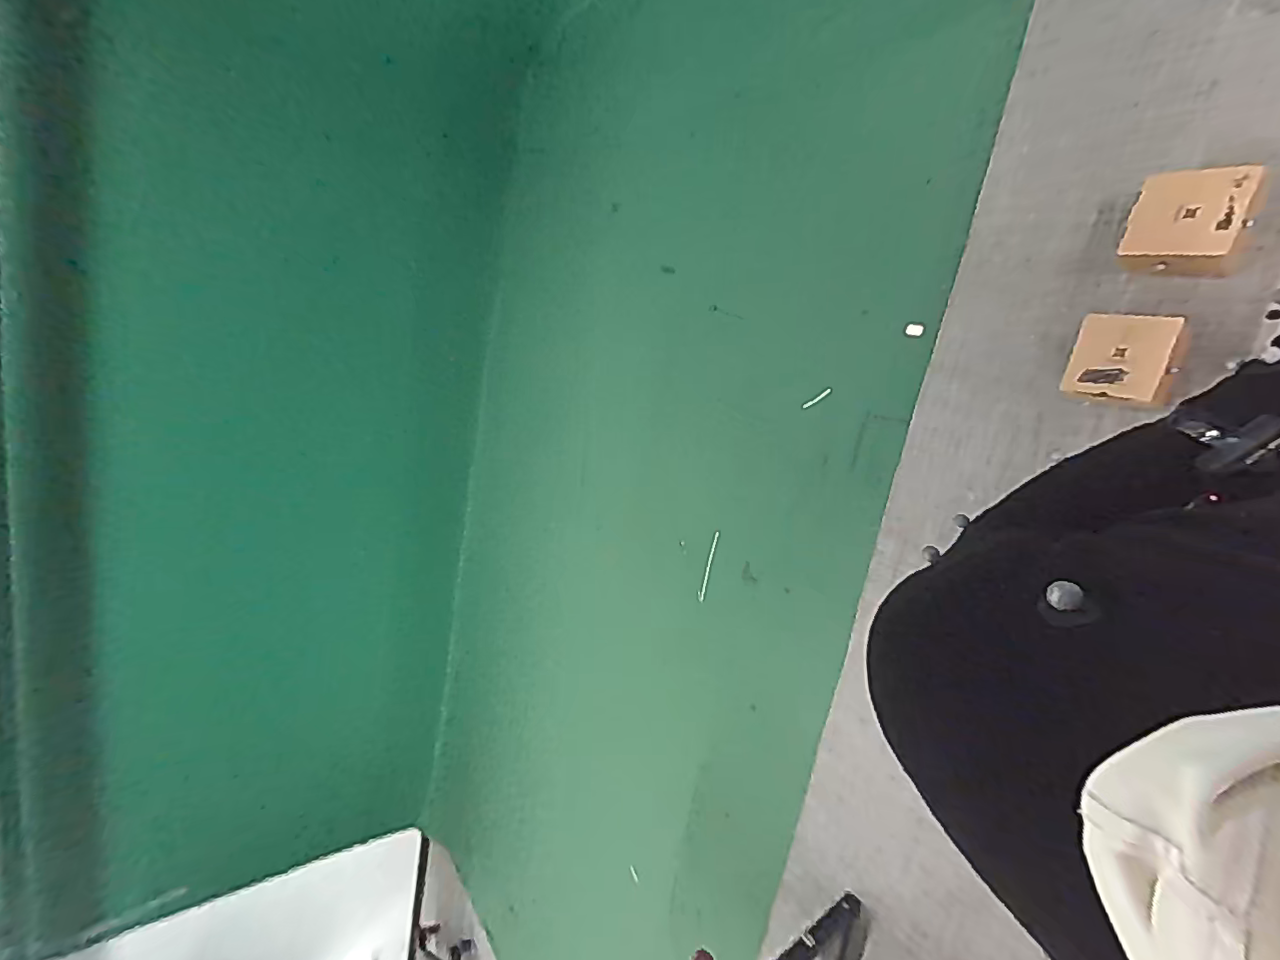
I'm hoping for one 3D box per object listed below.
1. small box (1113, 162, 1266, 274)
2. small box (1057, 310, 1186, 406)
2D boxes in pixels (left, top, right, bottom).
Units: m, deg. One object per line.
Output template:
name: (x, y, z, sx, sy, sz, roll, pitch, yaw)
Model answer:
small box: (1.155, -0.541, 1.138, 0.179, 0.176, 0.168, 28, 110, 47)
small box: (1.083, -0.270, 1.213, 0.168, 0.176, 0.179, 25, 107, 47)
